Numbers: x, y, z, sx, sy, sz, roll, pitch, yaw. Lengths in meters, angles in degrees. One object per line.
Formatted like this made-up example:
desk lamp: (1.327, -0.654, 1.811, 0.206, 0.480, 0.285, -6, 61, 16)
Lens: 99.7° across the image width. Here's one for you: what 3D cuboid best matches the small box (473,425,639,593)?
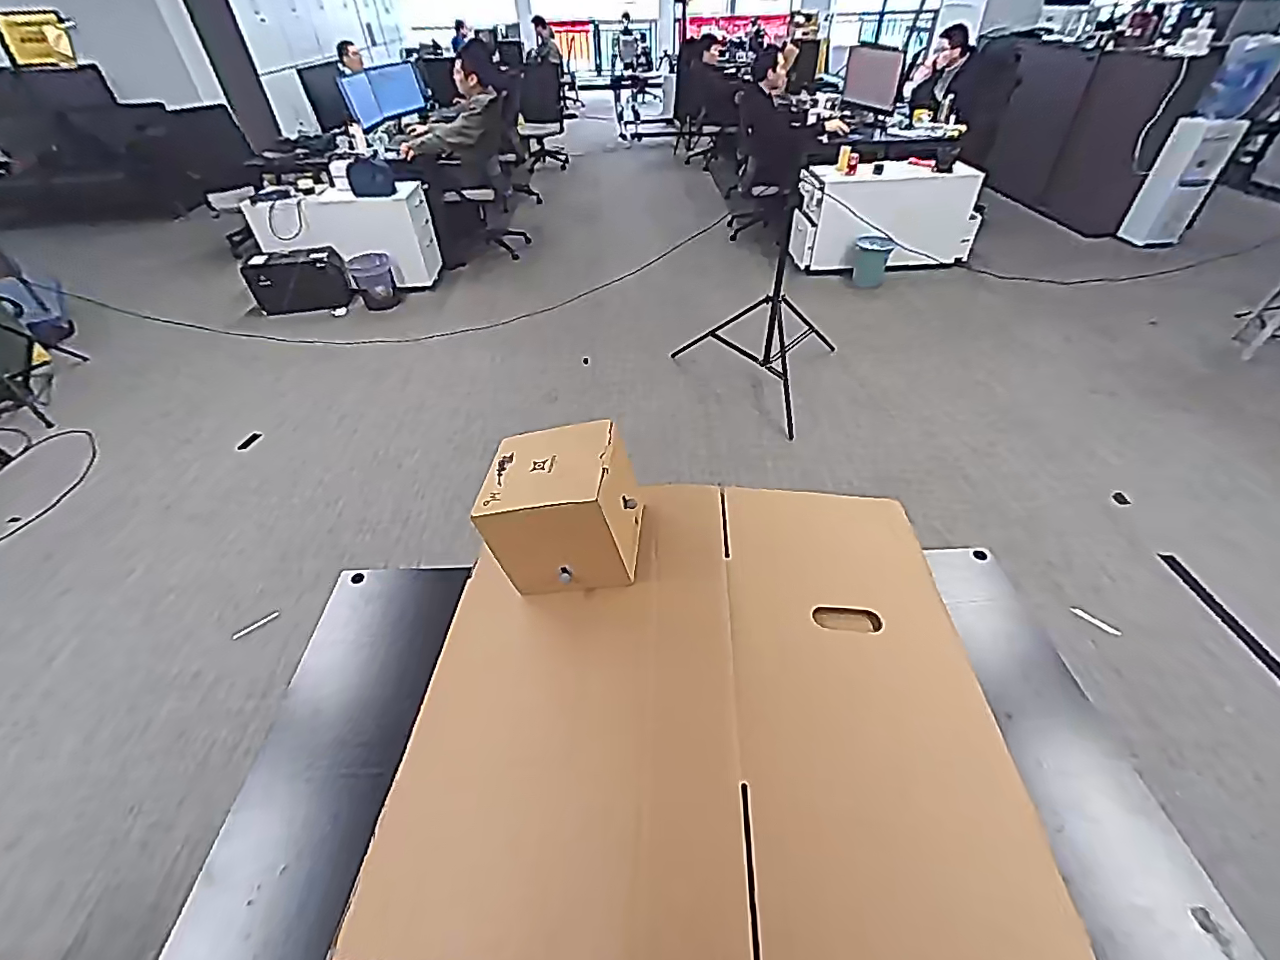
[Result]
small box: (-0.105, 0.045, 0.782, 0.179, 0.176, 0.168, -8, 40, 13)
